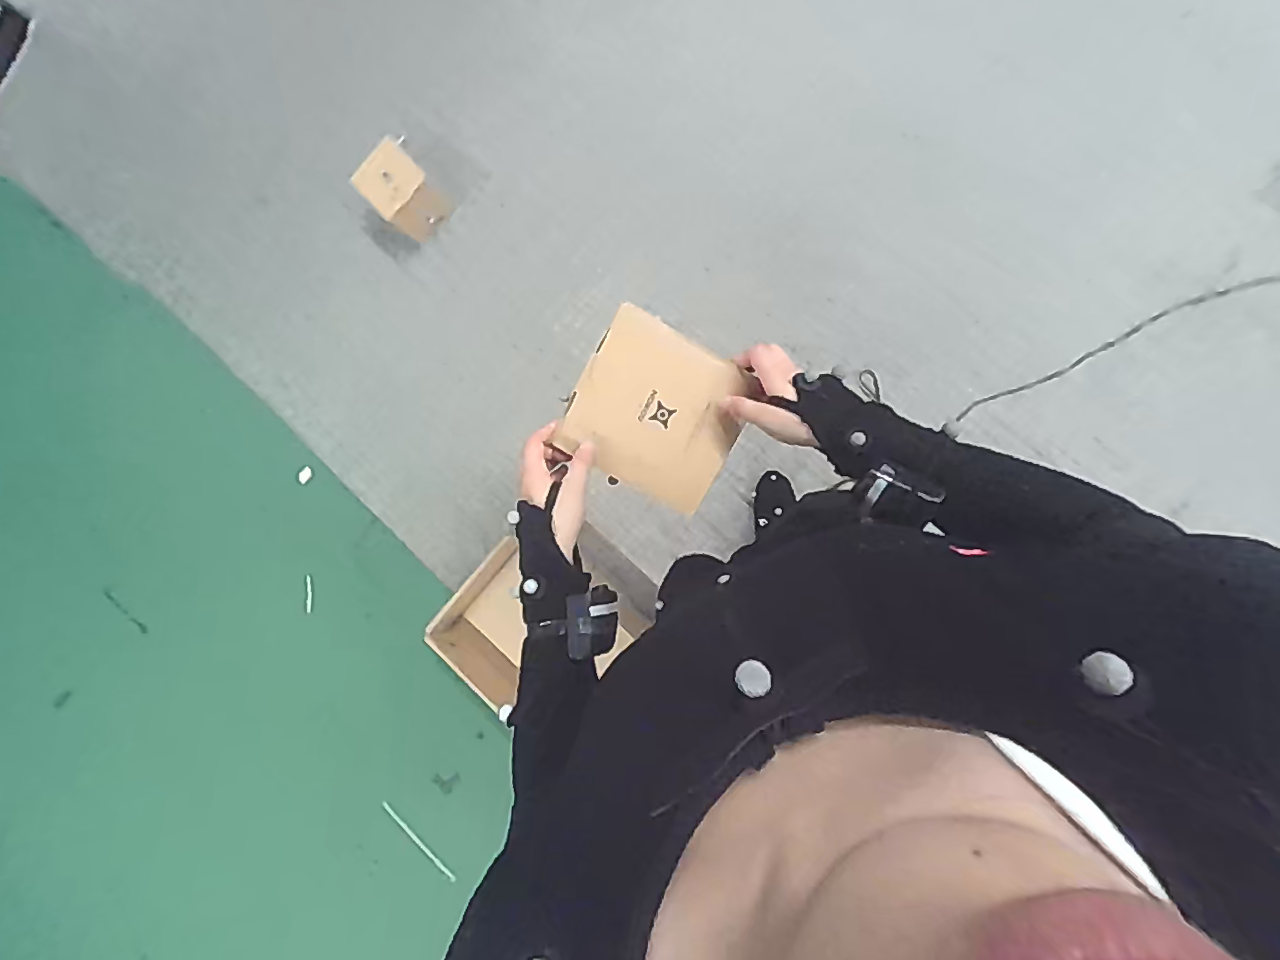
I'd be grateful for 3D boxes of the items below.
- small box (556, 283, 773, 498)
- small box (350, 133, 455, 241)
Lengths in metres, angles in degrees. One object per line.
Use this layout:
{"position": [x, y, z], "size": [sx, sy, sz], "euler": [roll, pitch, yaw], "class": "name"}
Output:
{"position": [0.019, -0.102, 0.635], "size": [0.179, 0.176, 0.168], "euler": [27, 98, -10], "class": "small box"}
{"position": [-0.673, -0.826, 1.545], "size": [0.168, 0.176, 0.179], "euler": [-44, 83, 8], "class": "small box"}
